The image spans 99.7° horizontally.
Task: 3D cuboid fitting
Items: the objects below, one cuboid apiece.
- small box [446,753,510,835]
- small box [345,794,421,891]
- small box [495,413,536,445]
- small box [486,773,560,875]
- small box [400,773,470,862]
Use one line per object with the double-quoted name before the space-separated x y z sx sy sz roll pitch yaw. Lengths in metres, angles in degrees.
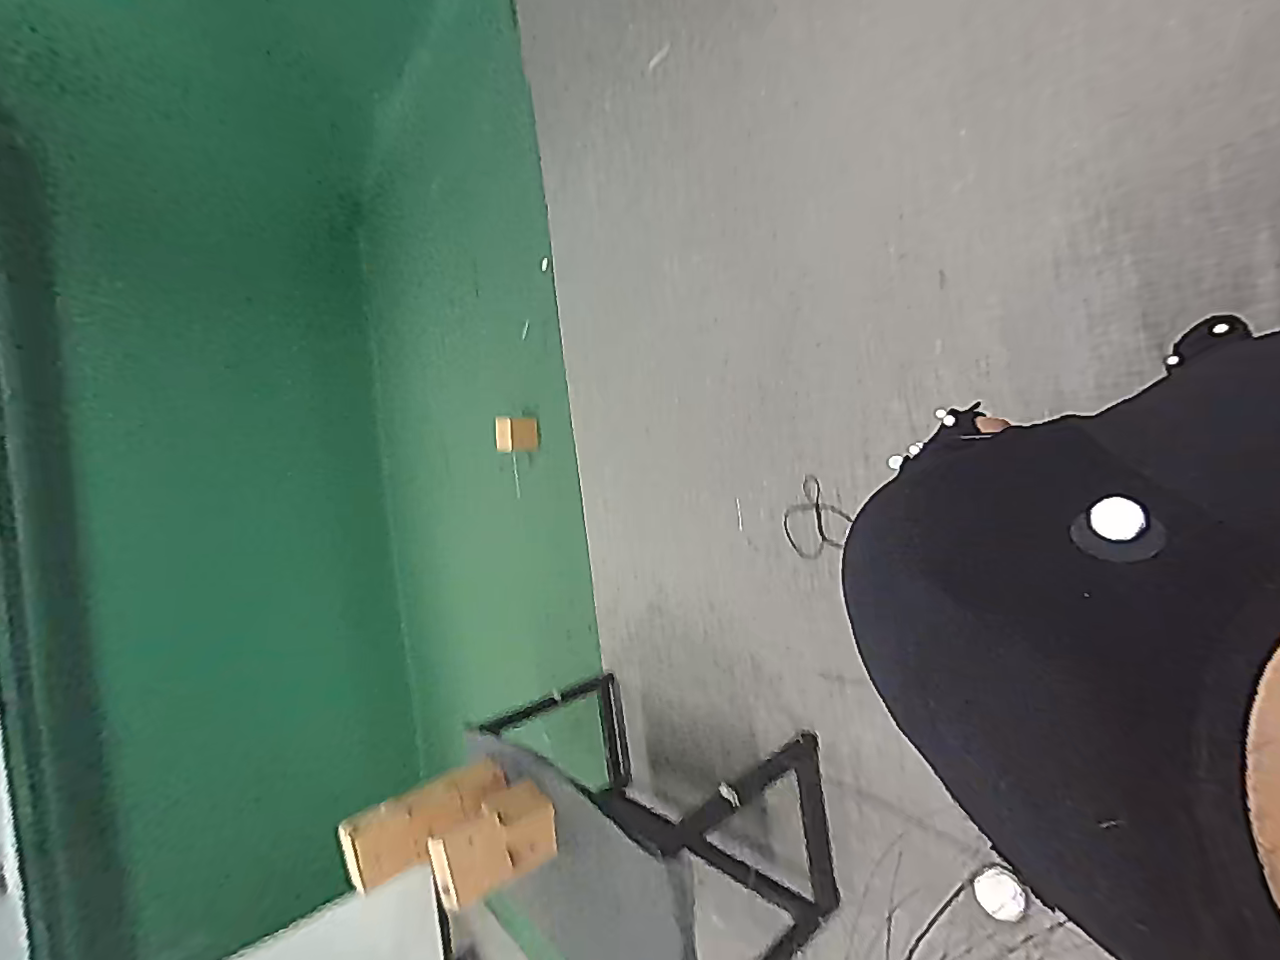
"small box" -0.578 1.124 1.953 0.168 0.176 0.179 -7 93 49
"small box" -0.823 1.156 1.737 0.168 0.176 0.179 -18 85 47
"small box" -0.682 -0.281 2.980 0.179 0.176 0.168 5 99 49
"small box" -0.366 1.076 1.706 0.168 0.176 0.179 5 102 48
"small box" -0.698 1.142 1.845 0.168 0.176 0.179 -13 87 47
